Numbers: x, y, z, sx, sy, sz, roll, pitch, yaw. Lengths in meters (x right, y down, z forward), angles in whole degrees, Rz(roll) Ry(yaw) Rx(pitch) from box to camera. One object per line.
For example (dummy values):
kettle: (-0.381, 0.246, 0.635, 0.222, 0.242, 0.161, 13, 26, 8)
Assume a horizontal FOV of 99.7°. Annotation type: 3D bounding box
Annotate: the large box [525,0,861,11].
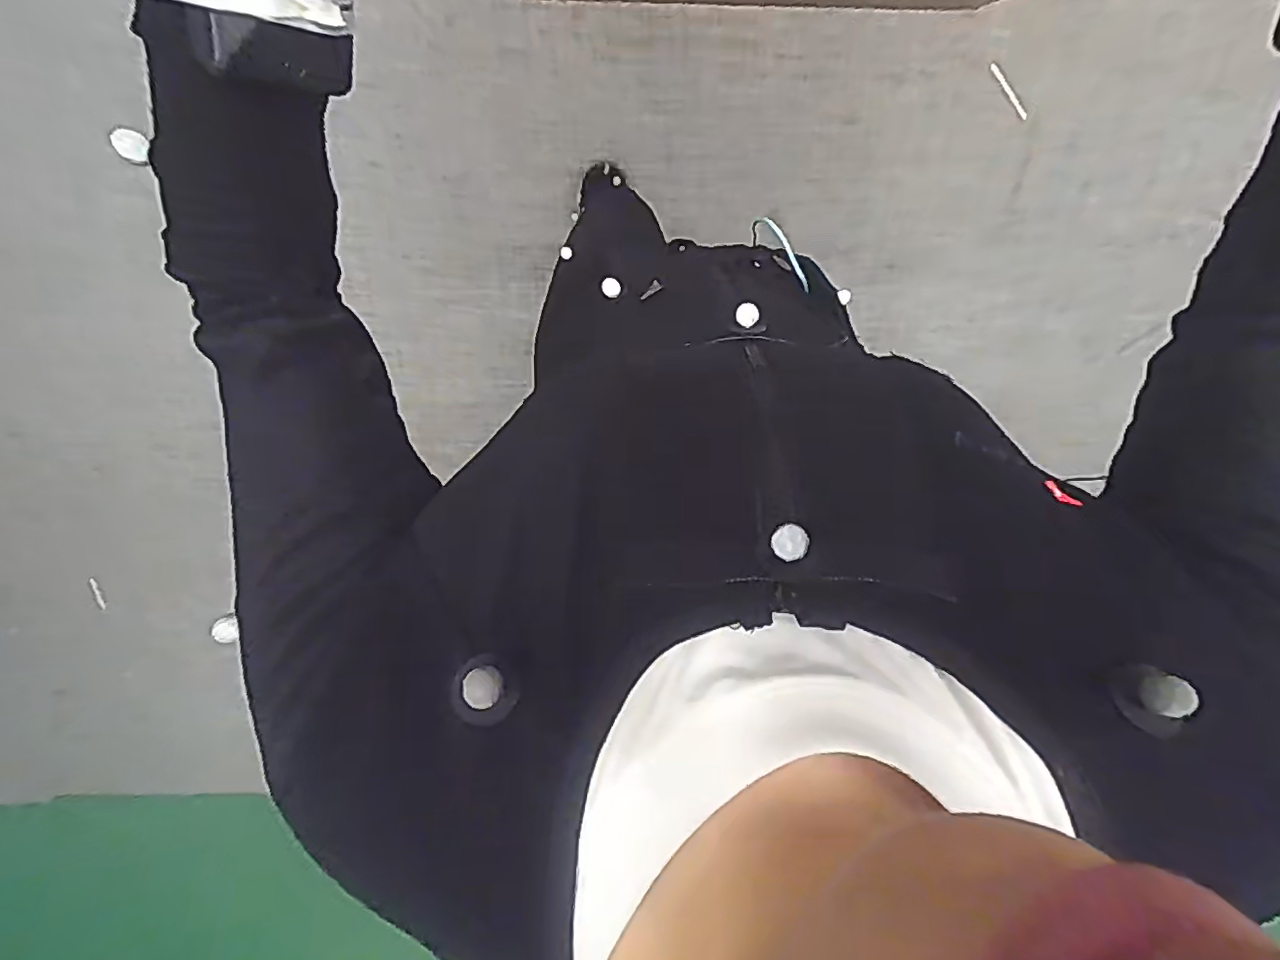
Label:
large box: (0.089, -0.468, 0.274, 0.408, 0.320, 0.320, 1, 125, 1)
